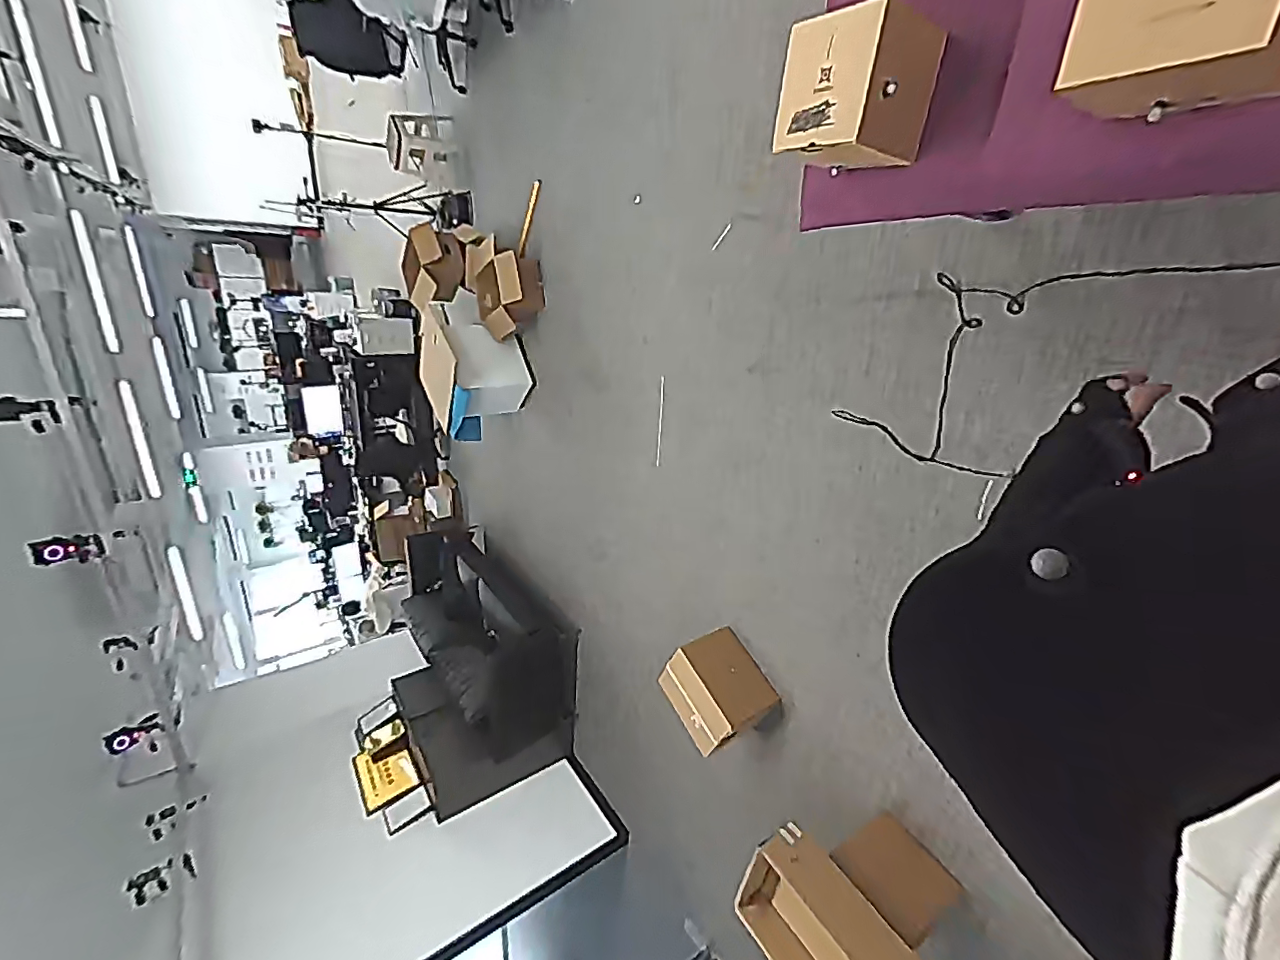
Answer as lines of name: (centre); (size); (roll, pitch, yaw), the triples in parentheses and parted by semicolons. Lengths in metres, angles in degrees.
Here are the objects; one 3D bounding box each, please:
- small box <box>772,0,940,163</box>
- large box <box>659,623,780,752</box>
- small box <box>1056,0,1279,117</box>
small box: (0.340, -0.615, 0.856); (0.168, 0.176, 0.179); (31, 123, 46)
large box: (0.356, 0.946, 2.499); (0.408, 0.320, 0.320); (52, 138, 32)
small box: (0.578, -0.504, 0.555); (0.168, 0.176, 0.179); (30, 123, 48)
